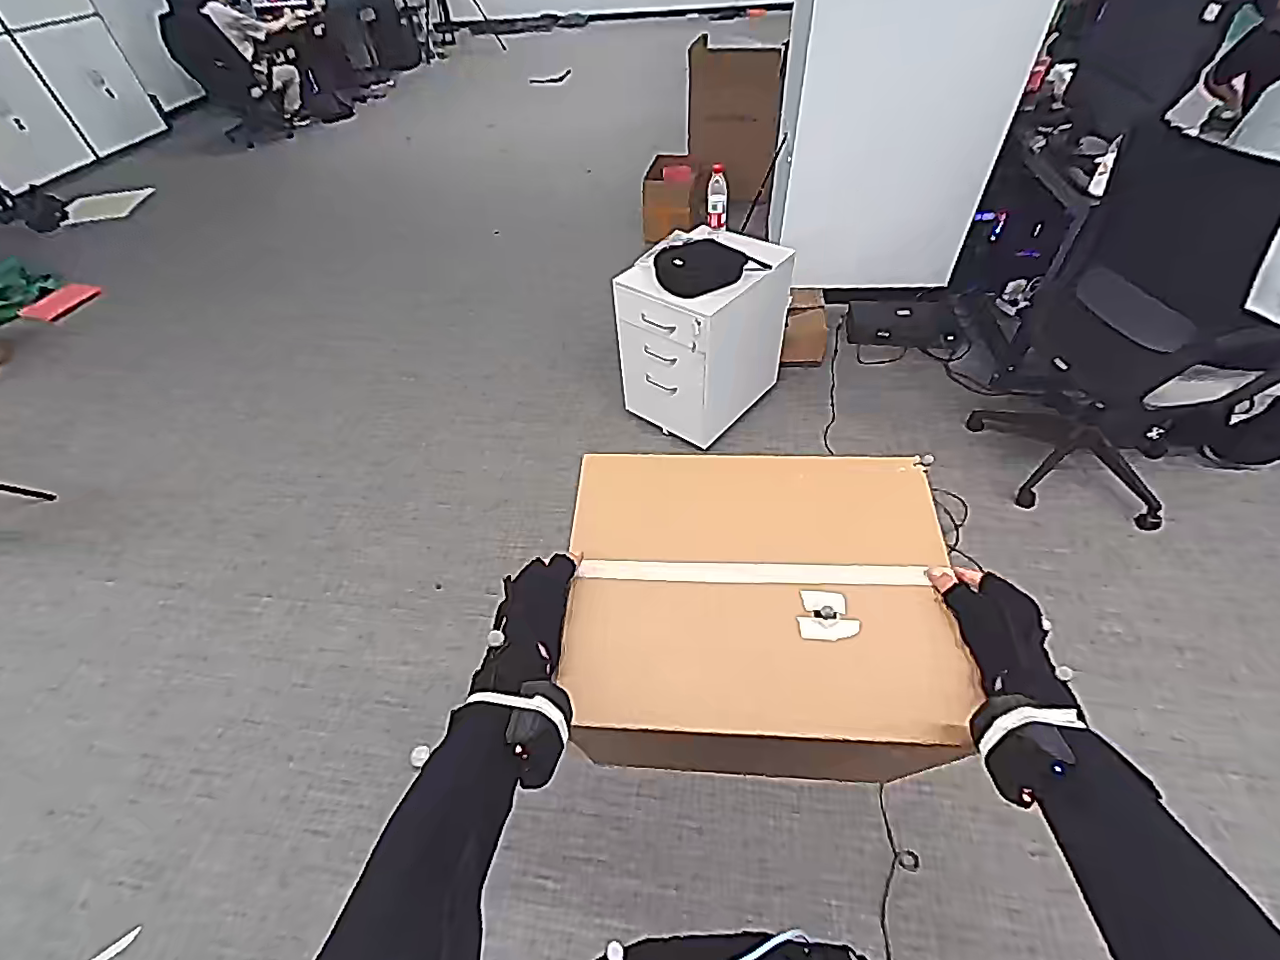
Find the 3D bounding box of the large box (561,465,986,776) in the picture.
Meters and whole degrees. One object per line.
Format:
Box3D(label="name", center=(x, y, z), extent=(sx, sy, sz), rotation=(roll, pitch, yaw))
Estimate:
Box3D(label="large box", center=(0.133, 0.193, 0.709), extent=(0.408, 0.320, 0.320), rotation=(1, 56, 5))
